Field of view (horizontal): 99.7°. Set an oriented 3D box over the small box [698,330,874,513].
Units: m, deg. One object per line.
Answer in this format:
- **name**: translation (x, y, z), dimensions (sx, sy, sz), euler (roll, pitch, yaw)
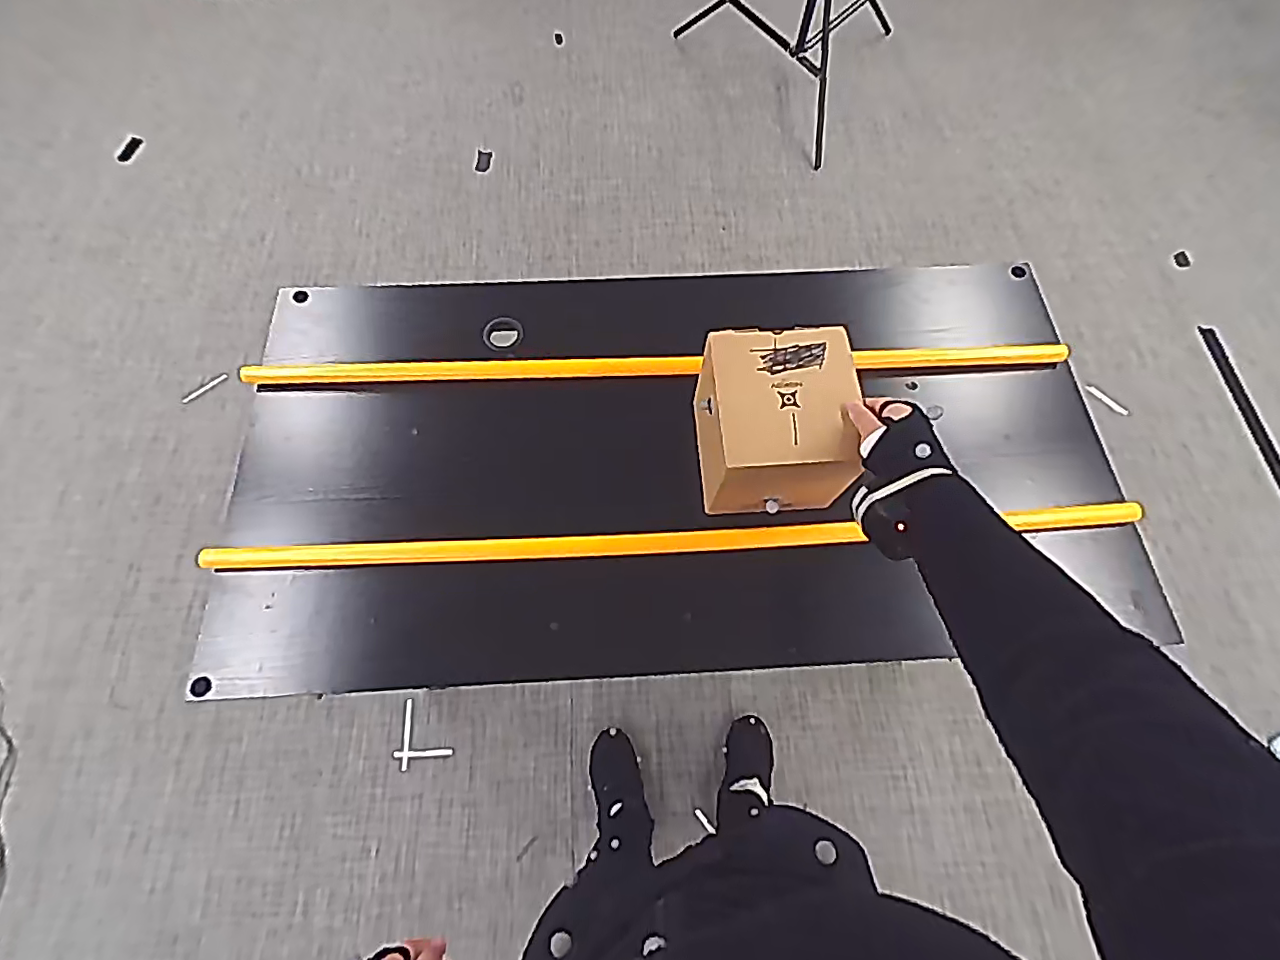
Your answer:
- **small box**: translation (0.168, -0.068, 0.687), dimensions (0.168, 0.176, 0.179), euler (-3, 69, -1)
